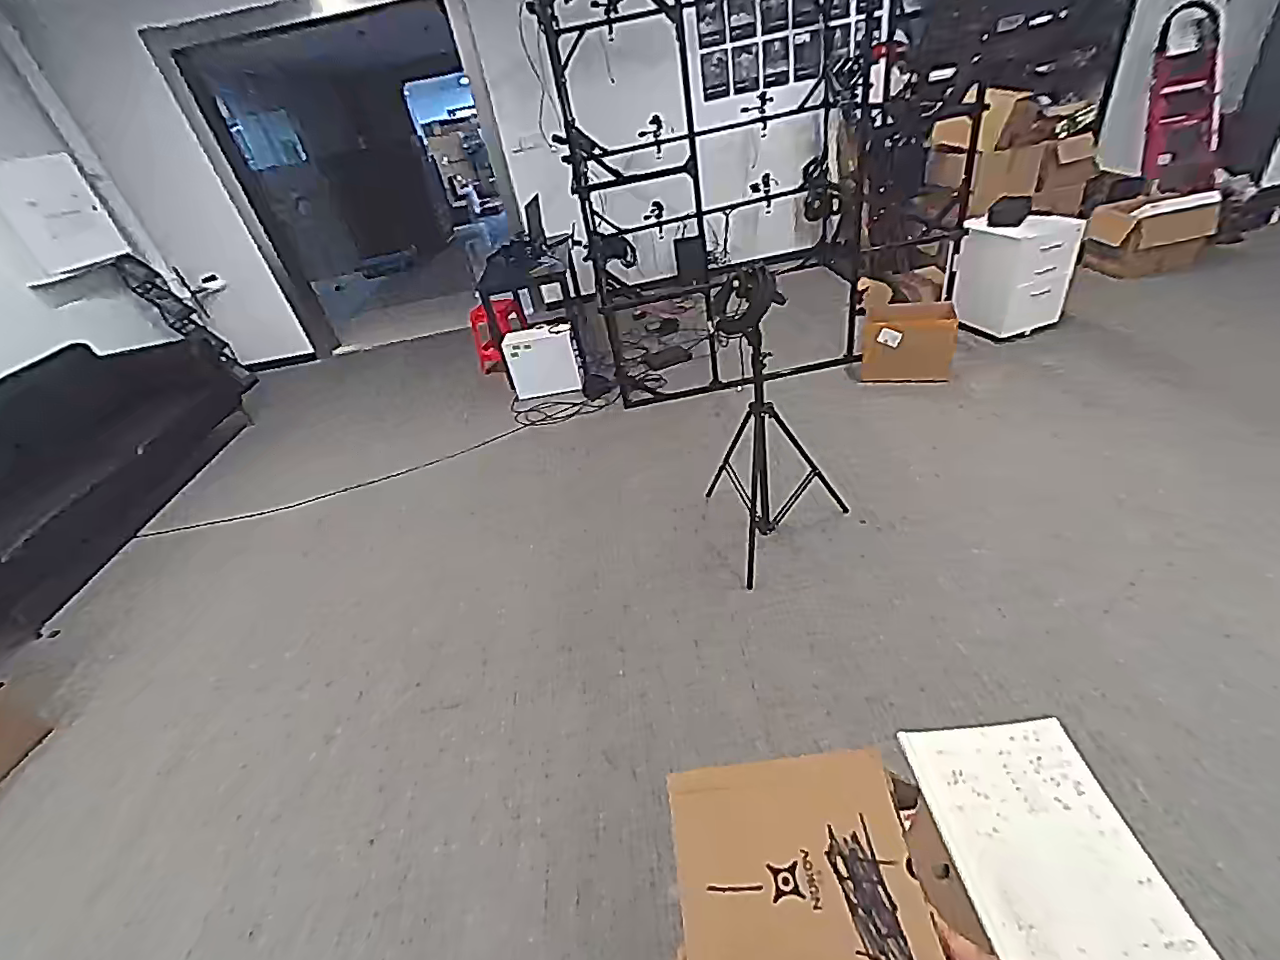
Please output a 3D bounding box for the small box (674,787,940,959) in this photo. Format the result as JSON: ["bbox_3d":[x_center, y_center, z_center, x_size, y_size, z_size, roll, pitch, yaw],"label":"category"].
[{"bbox_3d":[0.129,0.371,0.454,0.179,0.176,0.168,-9,50,4],"label":"small box"}]

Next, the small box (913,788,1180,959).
[{"bbox_3d":[0.446,0.498,0.631,0.168,0.176,0.179,-9,35,1],"label":"small box"}]
